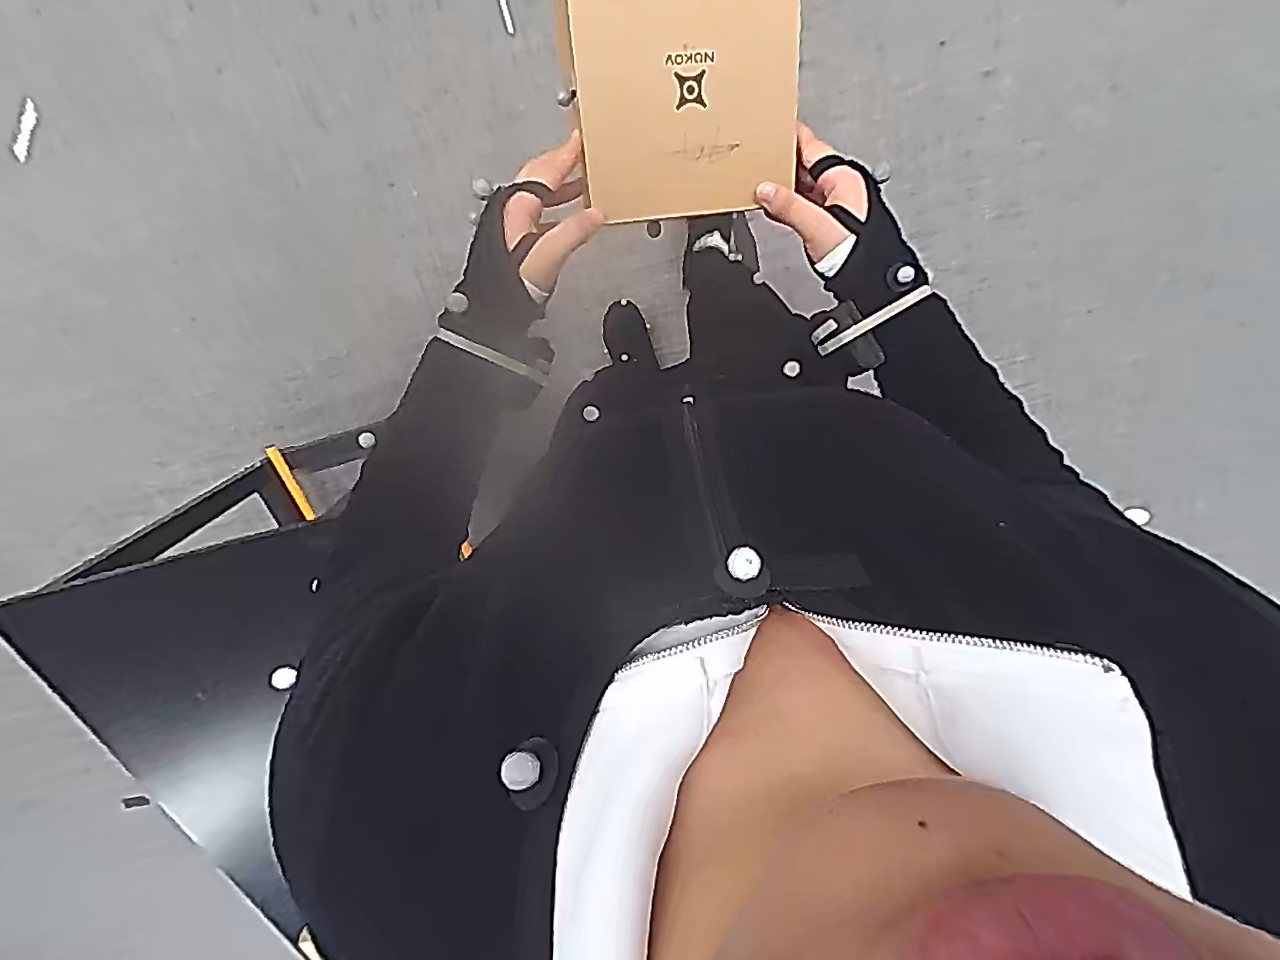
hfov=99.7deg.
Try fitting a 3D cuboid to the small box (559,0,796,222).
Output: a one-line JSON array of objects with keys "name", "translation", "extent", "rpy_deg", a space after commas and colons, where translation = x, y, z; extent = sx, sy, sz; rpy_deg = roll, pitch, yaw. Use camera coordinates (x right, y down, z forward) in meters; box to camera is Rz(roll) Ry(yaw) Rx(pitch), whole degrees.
[{"name": "small box", "translation": [0.024, -0.330, 0.472], "extent": [0.168, 0.176, 0.179], "rpy_deg": [-9, 117, -4]}]
